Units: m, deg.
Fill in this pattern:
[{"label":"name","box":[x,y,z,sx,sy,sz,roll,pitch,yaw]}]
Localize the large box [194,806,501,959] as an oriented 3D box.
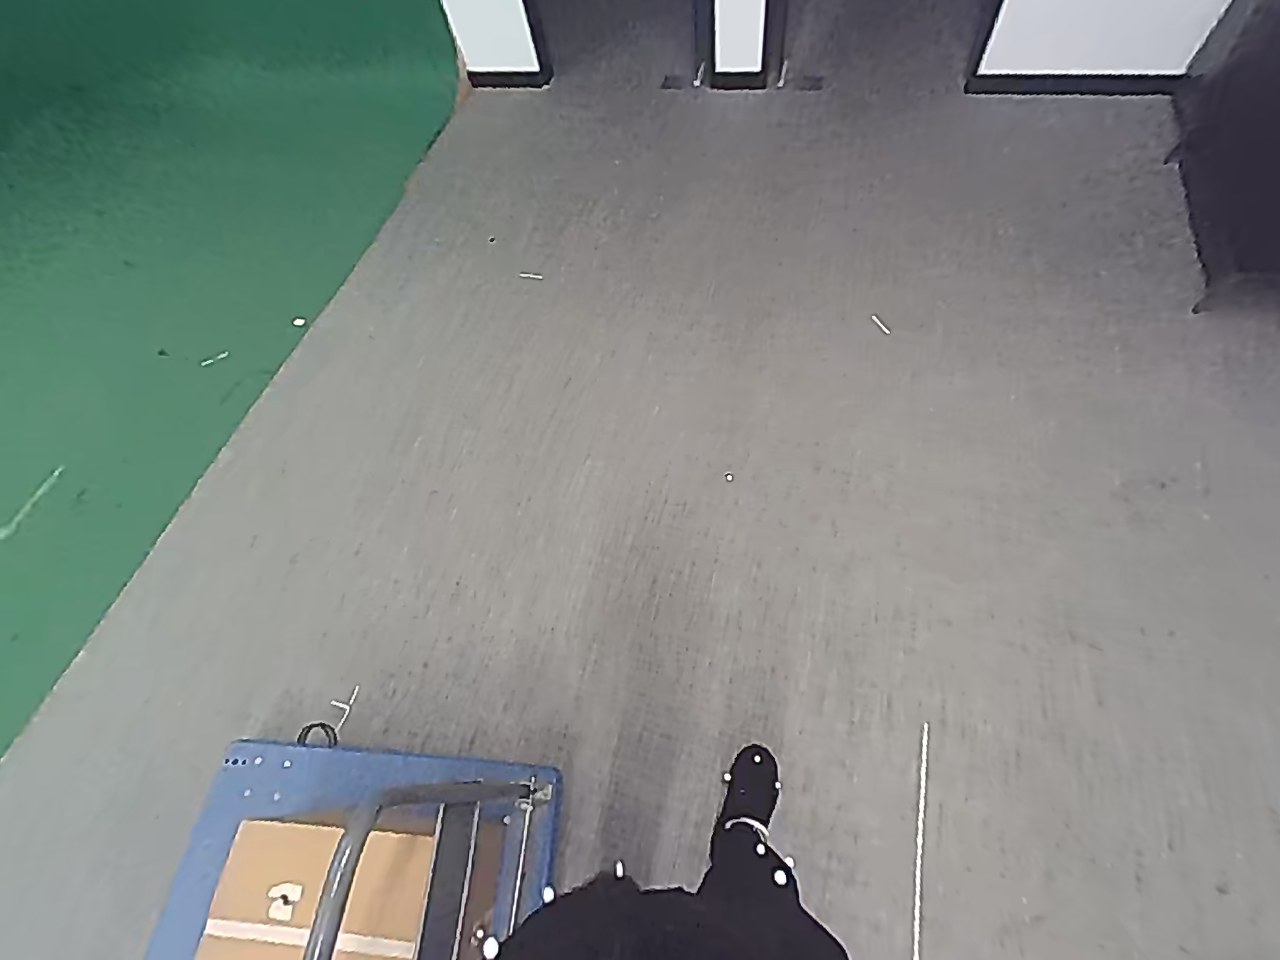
[{"label":"large box","box":[-0.526,0.825,1.034,0.408,0.320,0.320,0,62,9]}]
